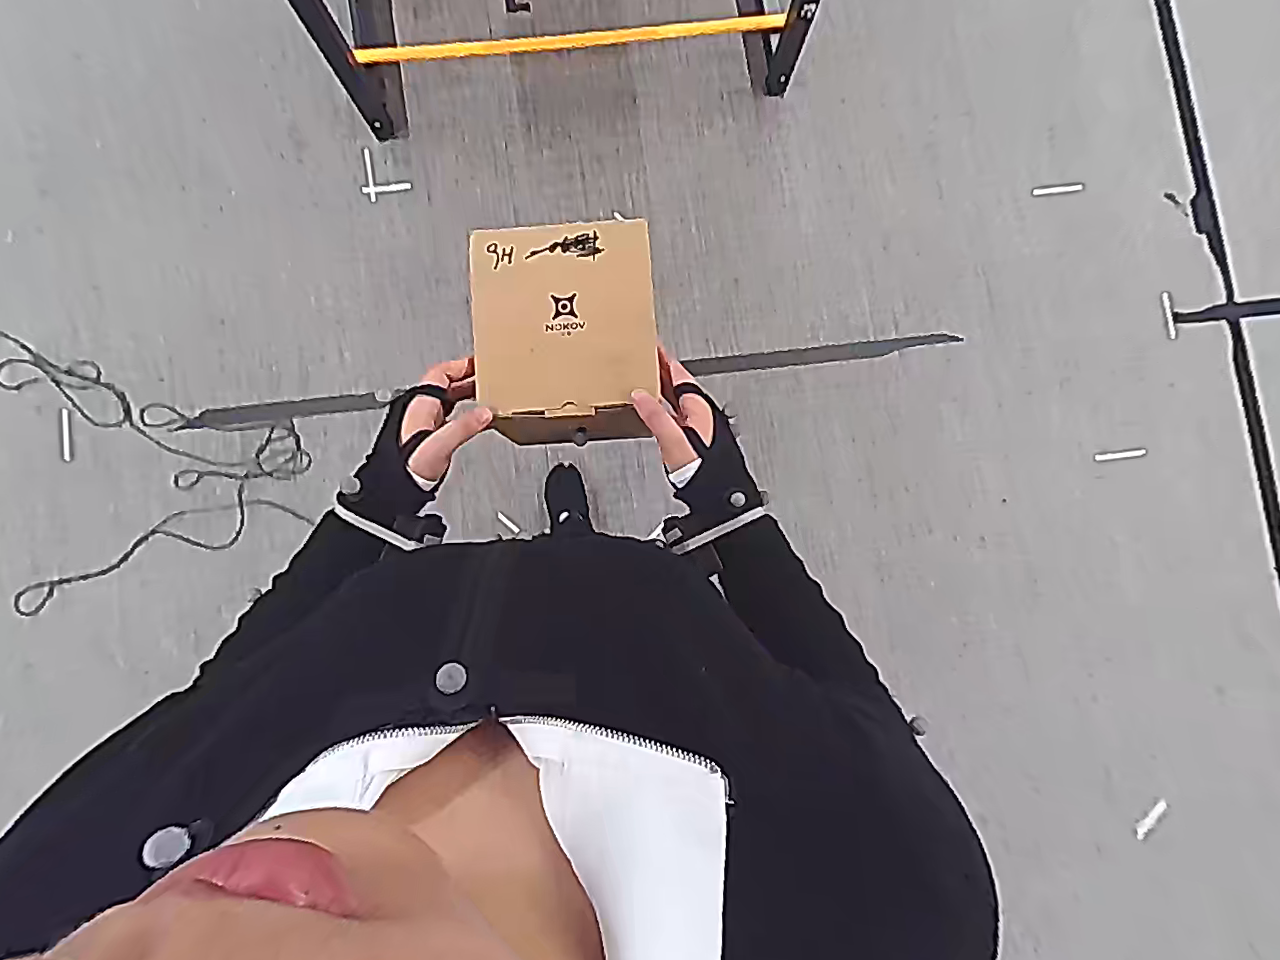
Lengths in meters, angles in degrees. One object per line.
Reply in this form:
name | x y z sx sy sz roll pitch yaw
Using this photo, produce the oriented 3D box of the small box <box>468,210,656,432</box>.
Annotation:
small box | -0.069 -0.149 0.566 0.168 0.176 0.179 -4 85 0
